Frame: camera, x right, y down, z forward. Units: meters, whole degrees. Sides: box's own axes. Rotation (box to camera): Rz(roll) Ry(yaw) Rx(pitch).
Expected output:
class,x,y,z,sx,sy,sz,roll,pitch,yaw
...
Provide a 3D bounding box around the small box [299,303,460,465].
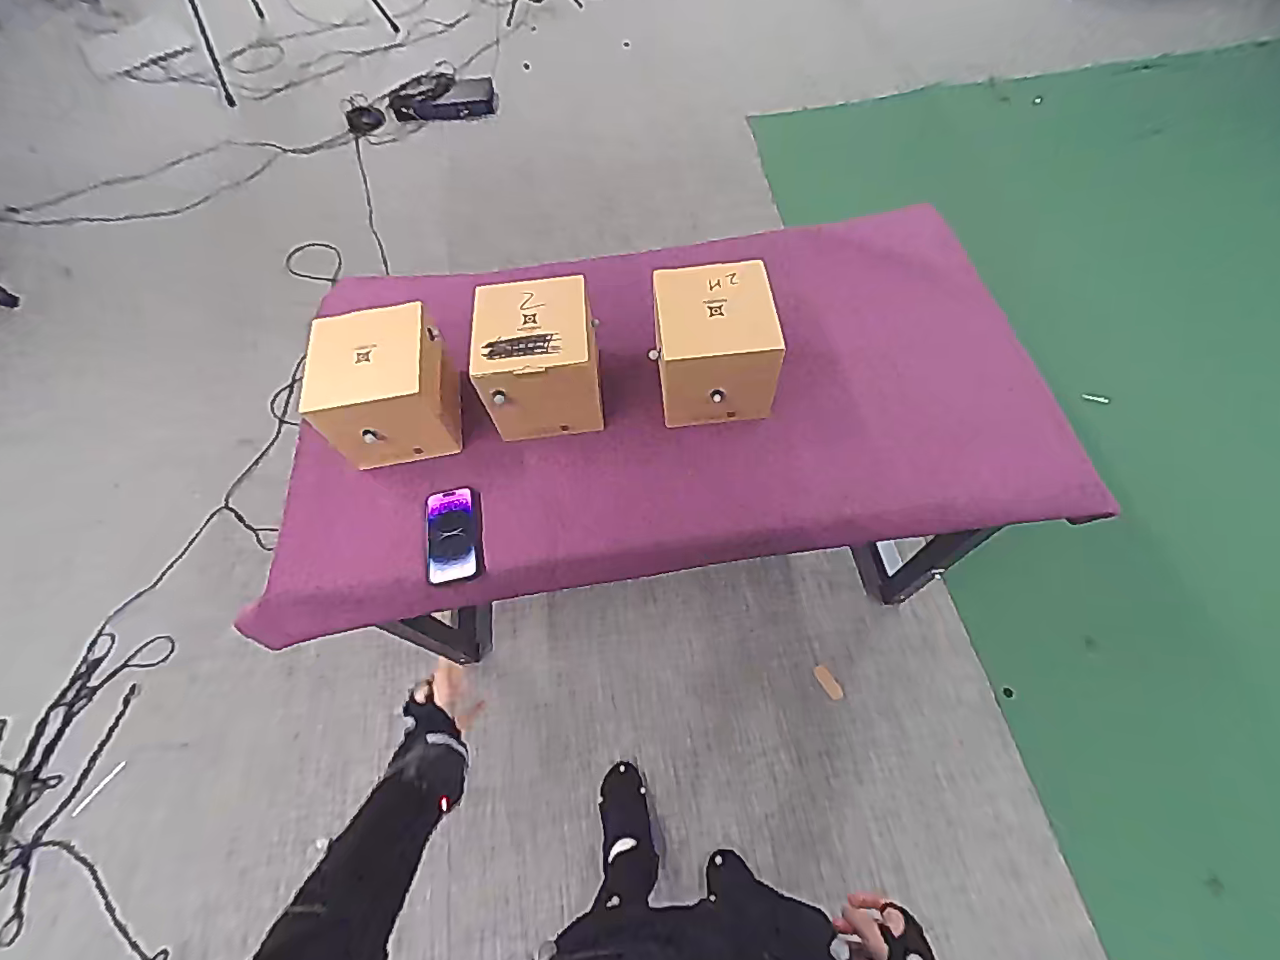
class,x,y,z,sx,sy,sz,roll,pitch,yaw
small box,-0.387,-0.138,0.836,0.168,0.176,0.179,-11,61,-2

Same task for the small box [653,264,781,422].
class,x,y,z,sx,sy,sz,roll,pitch,yaw
small box,0.110,-0.201,0.835,0.168,0.176,0.179,-5,61,1
